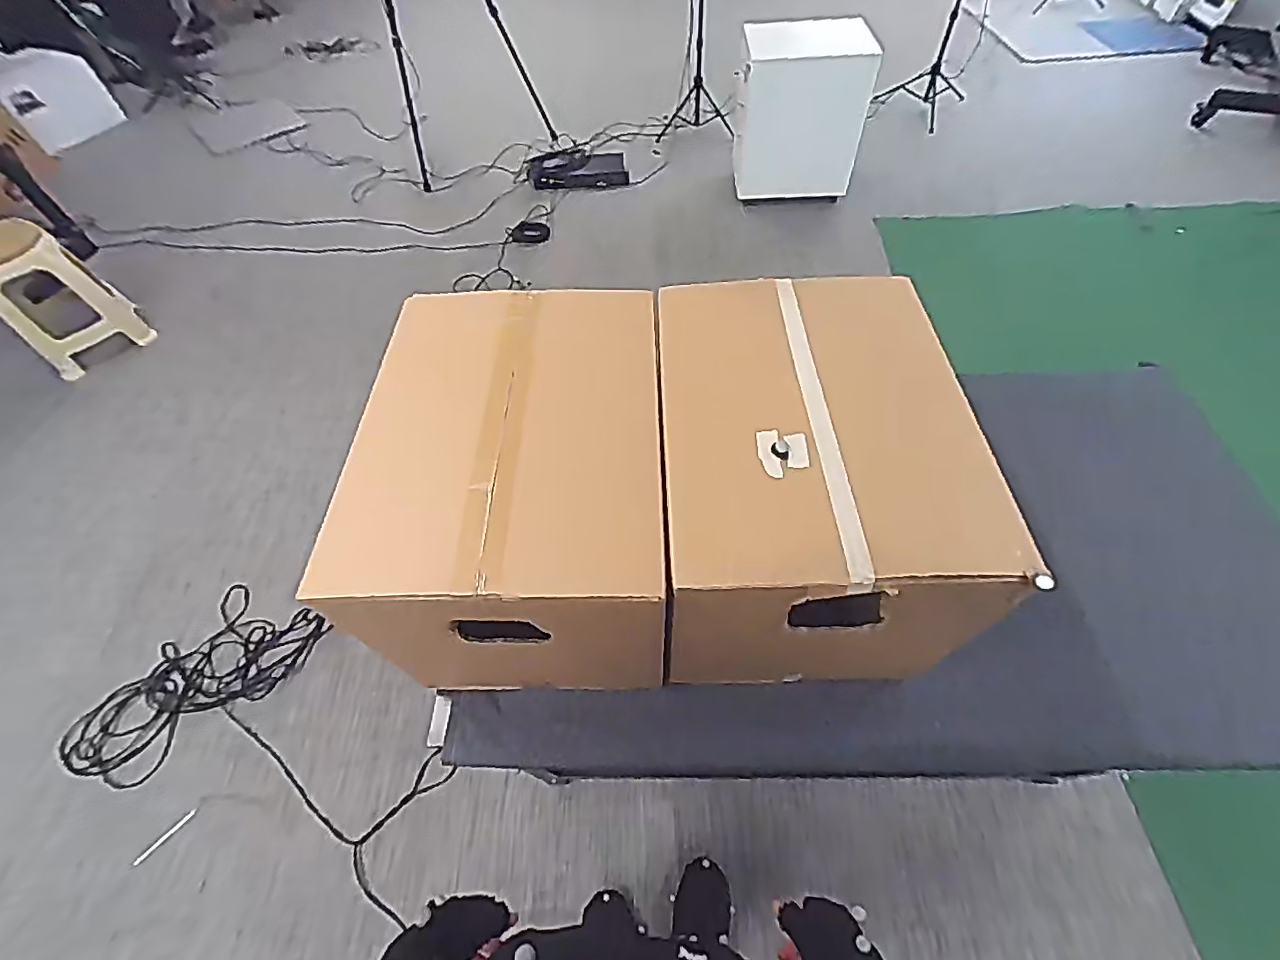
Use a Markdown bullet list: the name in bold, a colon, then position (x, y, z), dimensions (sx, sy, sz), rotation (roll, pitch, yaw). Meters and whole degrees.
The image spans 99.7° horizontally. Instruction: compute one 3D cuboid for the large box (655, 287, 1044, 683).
- **large box**: position (0.186, 0.011, 0.686), dimensions (0.320, 0.320, 0.408), rotation (-3, 56, 2)
